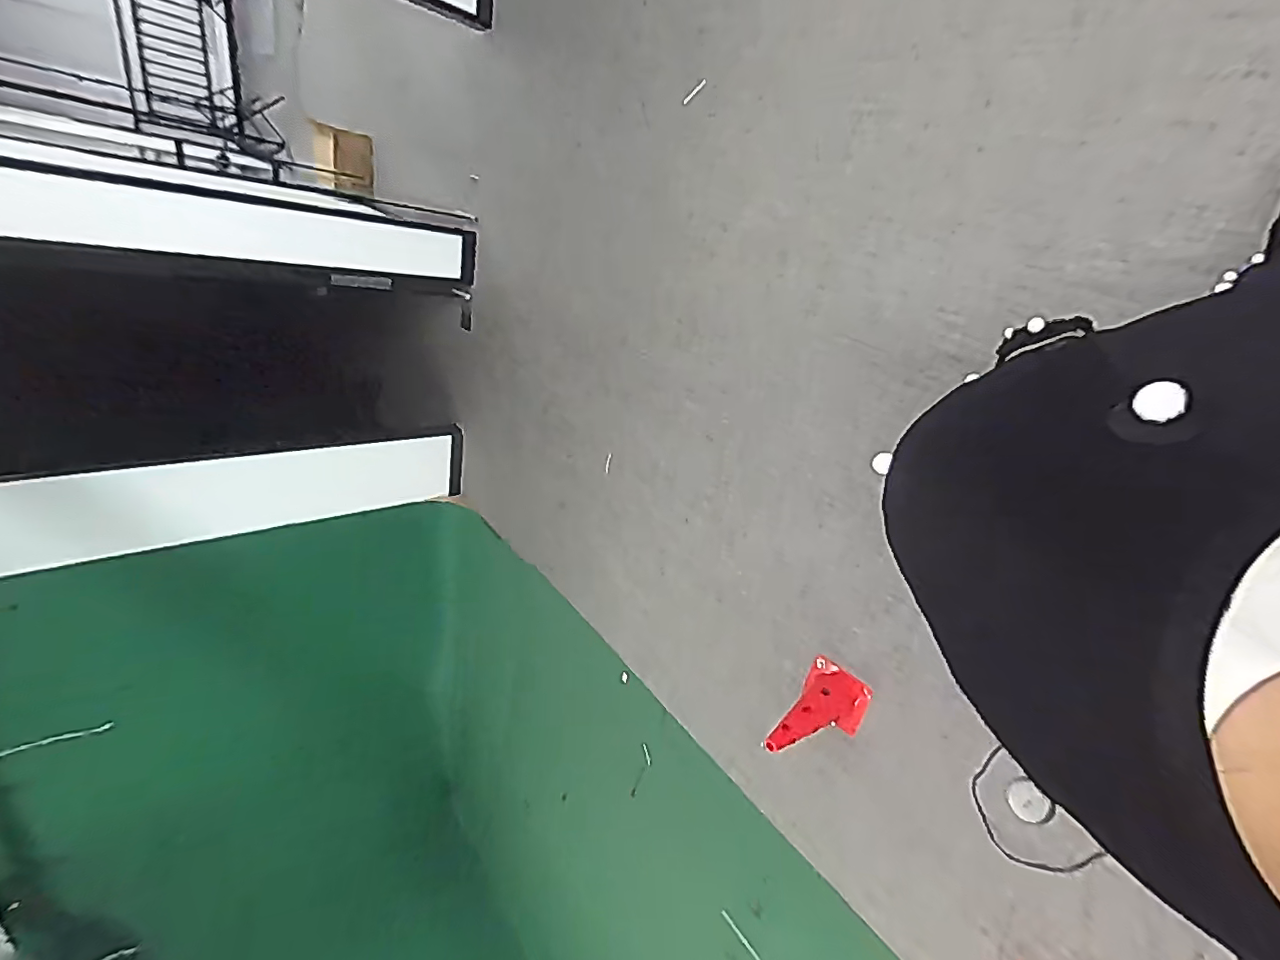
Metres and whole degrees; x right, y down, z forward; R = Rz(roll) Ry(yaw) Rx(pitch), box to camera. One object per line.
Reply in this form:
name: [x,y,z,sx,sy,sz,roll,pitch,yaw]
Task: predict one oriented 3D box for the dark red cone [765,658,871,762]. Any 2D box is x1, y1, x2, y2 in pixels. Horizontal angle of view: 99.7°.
dark red cone: [0.499,0.718,1.610,0.202,0.394,0.201,30,122,41]
